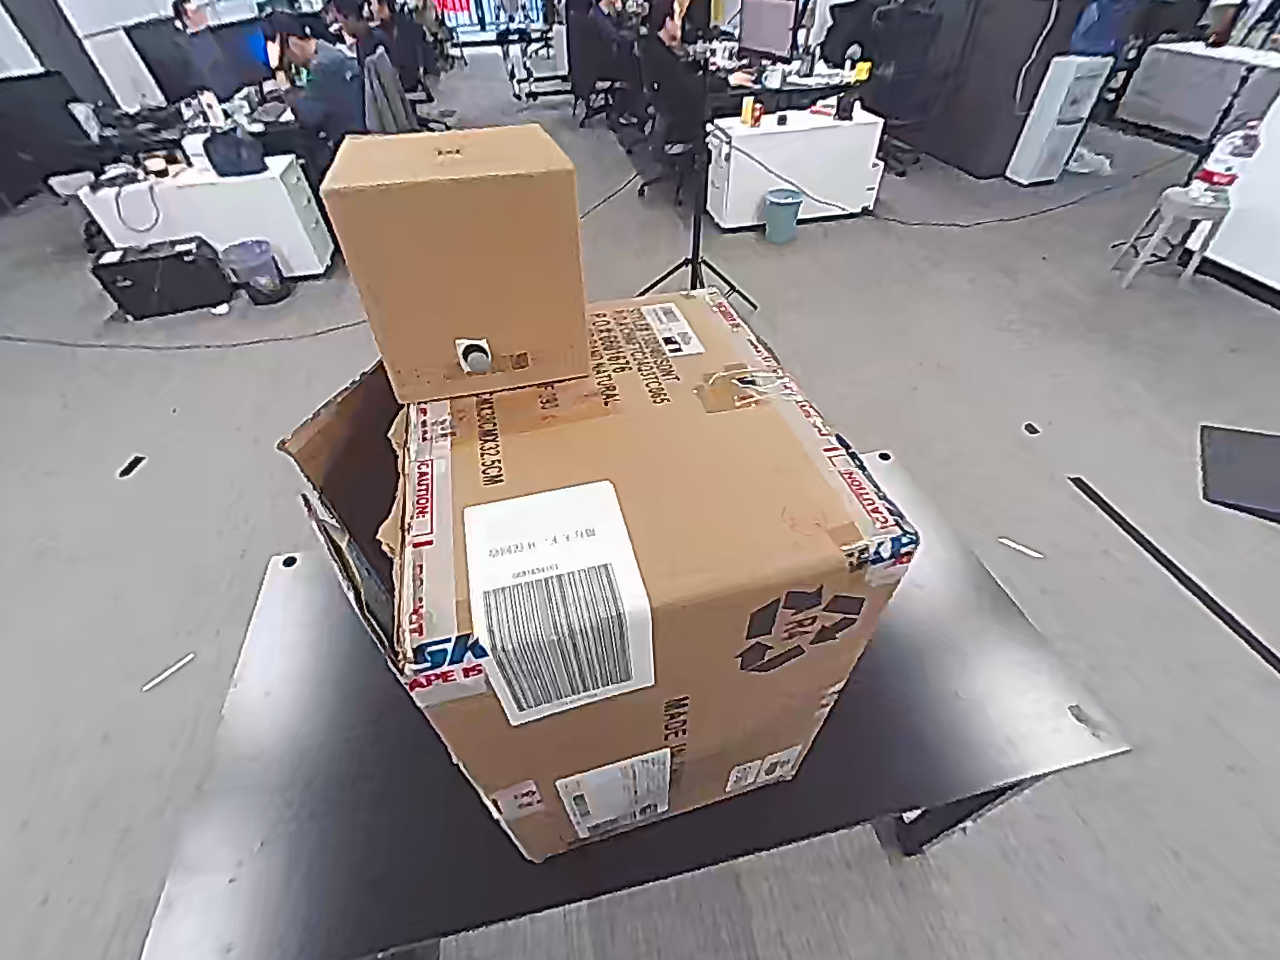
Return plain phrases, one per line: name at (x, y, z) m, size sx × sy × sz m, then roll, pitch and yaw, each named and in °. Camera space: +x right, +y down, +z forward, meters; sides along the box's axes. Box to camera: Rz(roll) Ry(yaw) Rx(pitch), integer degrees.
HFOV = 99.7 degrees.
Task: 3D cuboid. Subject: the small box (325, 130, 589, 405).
small box at (-0.146, -0.189, 0.474) m, size 0.168 × 0.176 × 0.179 m, roll -13°, pitch 44°, yaw -12°
